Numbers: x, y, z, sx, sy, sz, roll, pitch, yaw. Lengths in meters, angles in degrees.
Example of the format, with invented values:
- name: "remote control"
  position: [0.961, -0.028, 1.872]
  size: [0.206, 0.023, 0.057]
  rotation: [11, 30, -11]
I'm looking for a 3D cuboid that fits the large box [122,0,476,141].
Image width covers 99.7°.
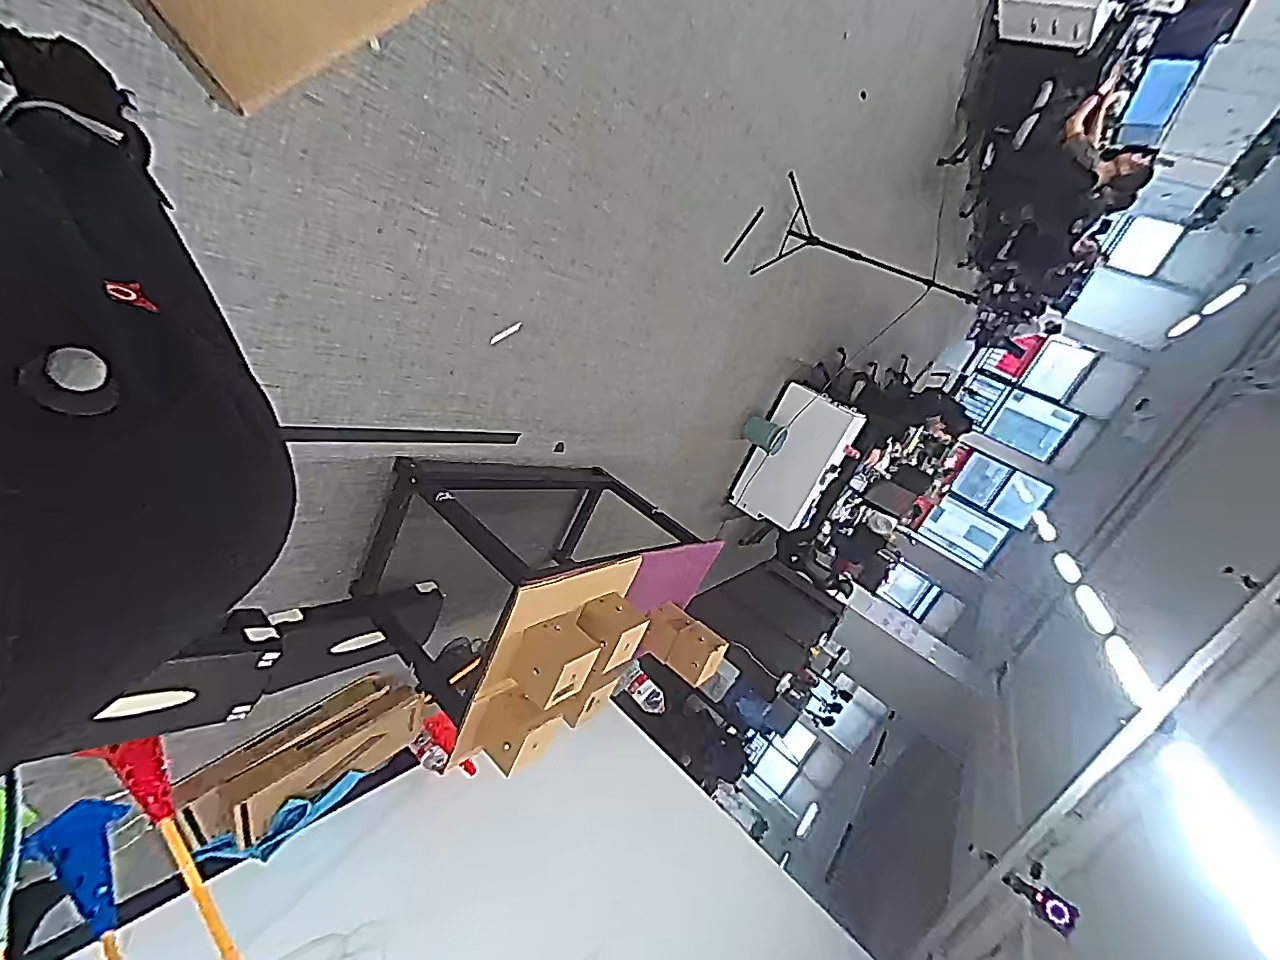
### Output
- name: "large box"
  position: [-0.360, -0.553, 0.491]
  size: [0.320, 0.408, 0.320]
  rotation: [-39, 135, -10]
